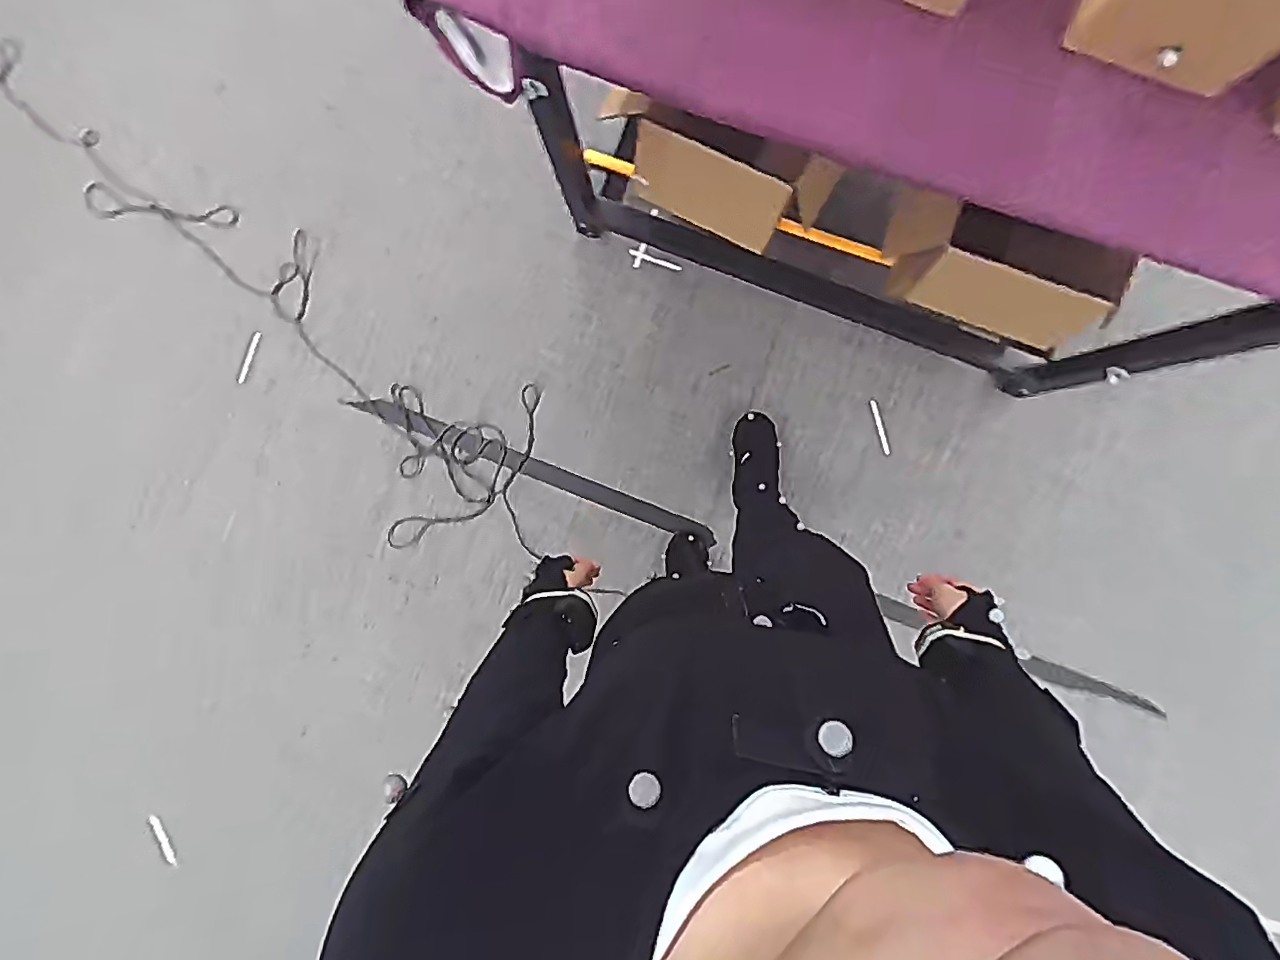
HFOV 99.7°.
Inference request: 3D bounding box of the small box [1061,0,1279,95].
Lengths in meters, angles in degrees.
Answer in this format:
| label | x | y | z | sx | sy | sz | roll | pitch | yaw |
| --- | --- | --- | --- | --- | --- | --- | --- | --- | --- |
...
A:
| label | x | y | z | sx | sy | sz | roll | pitch | yaw |
| --- | --- | --- | --- | --- | --- | --- | --- | --- | --- |
| small box | 0.581 | -0.538 | 0.528 | 0.179 | 0.176 | 0.168 | 22 | 91 | 2 |
